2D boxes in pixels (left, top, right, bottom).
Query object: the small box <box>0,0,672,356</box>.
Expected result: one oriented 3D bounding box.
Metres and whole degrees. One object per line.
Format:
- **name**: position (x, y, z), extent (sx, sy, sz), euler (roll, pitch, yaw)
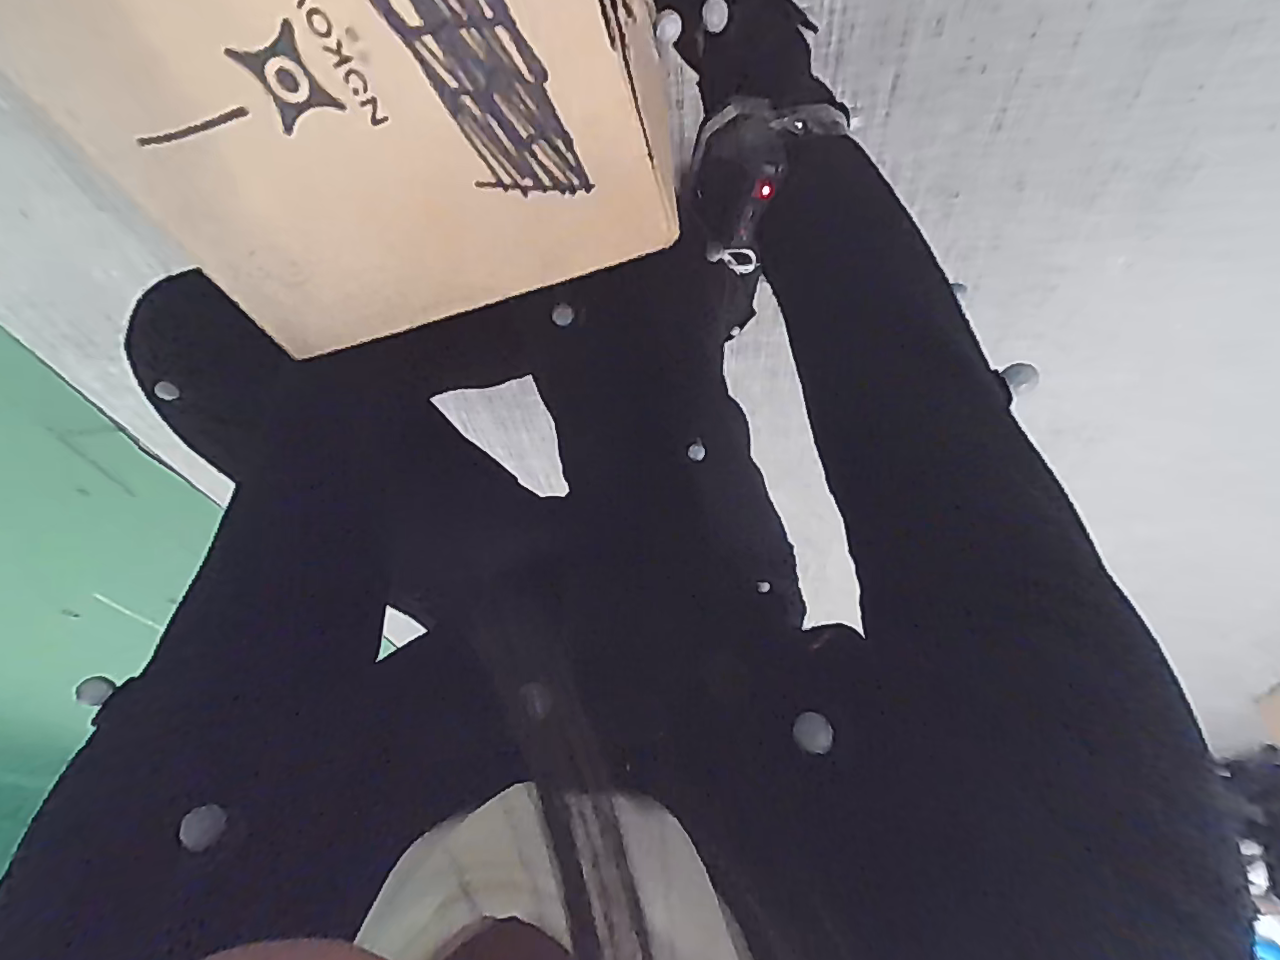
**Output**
- **small box**: position (-0.093, -0.181, 0.209), extent (0.179, 0.176, 0.168), euler (-10, 140, 15)
